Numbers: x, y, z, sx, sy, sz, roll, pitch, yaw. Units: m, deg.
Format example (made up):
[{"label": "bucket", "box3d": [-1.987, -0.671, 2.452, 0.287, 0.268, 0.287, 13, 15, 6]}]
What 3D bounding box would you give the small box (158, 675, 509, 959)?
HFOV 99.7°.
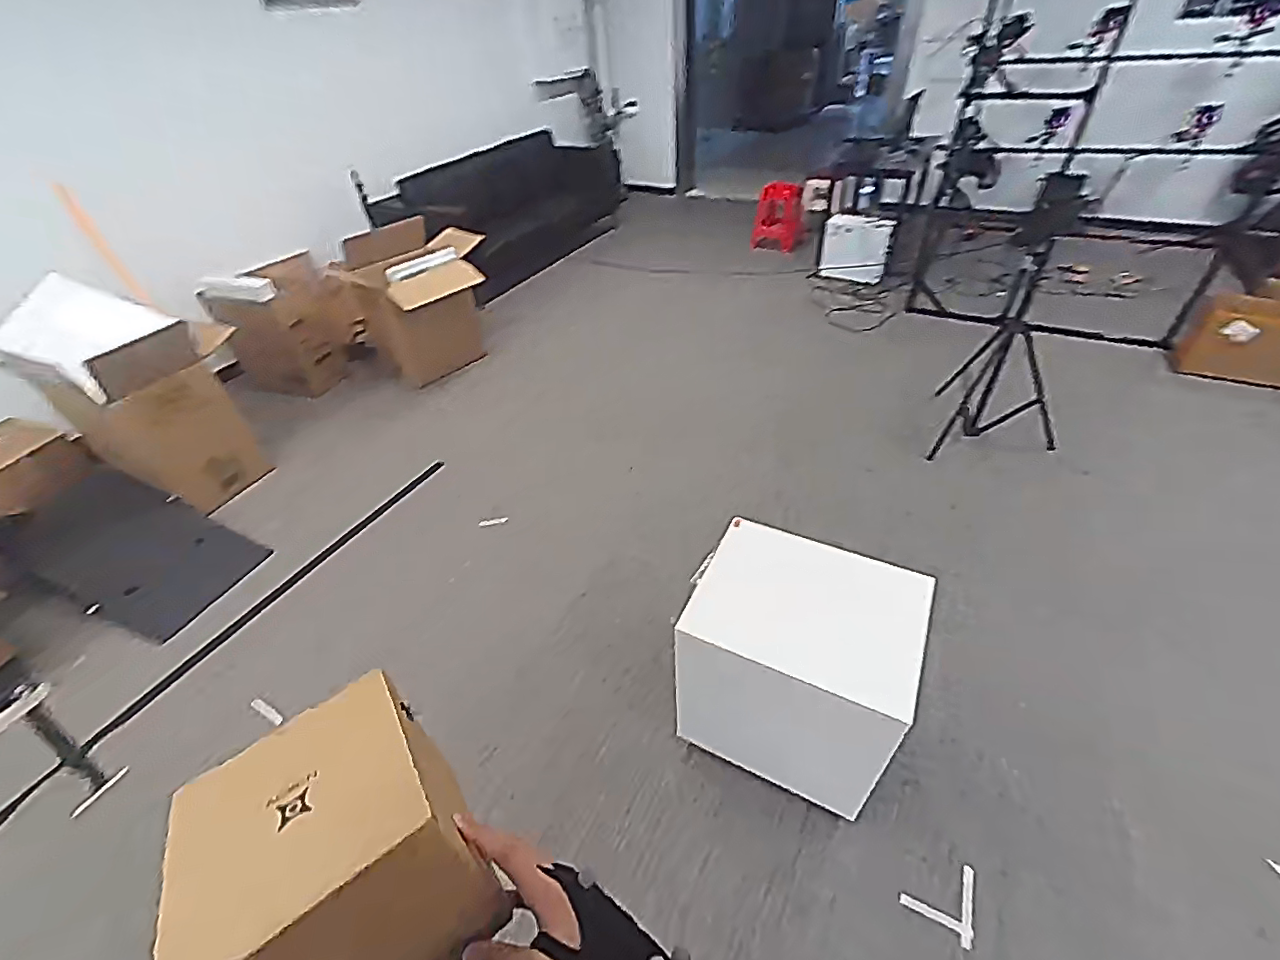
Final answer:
[{"label": "small box", "box3d": [-0.228, 0.304, 0.428, 0.168, 0.176, 0.179, -30, 33, -24]}]
